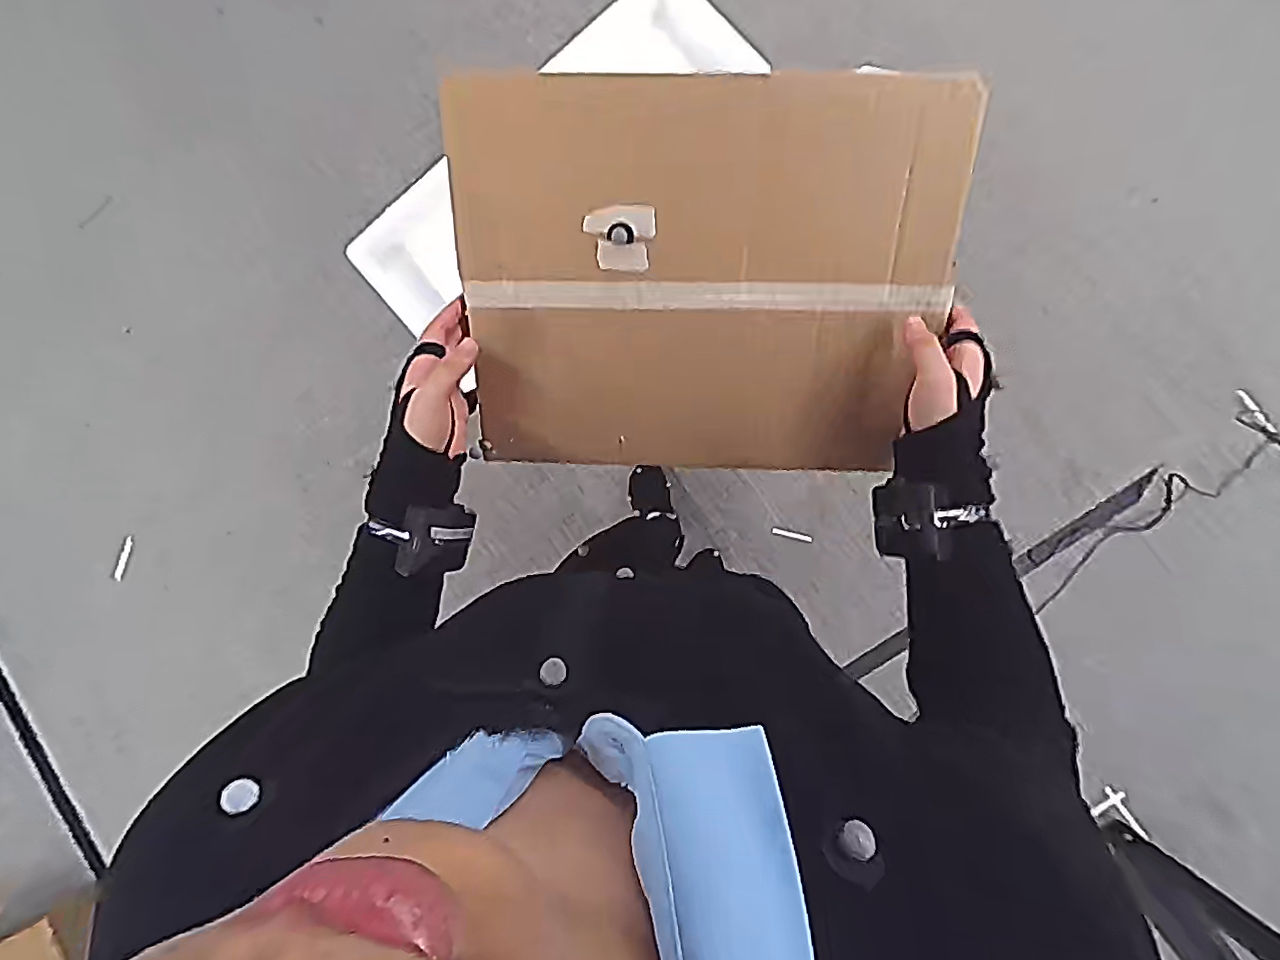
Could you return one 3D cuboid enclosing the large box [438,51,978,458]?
[{"bbox_3d":[0.056,-0.223,0.589,0.408,0.320,0.320,1,113,3],"label":"large box"}]
